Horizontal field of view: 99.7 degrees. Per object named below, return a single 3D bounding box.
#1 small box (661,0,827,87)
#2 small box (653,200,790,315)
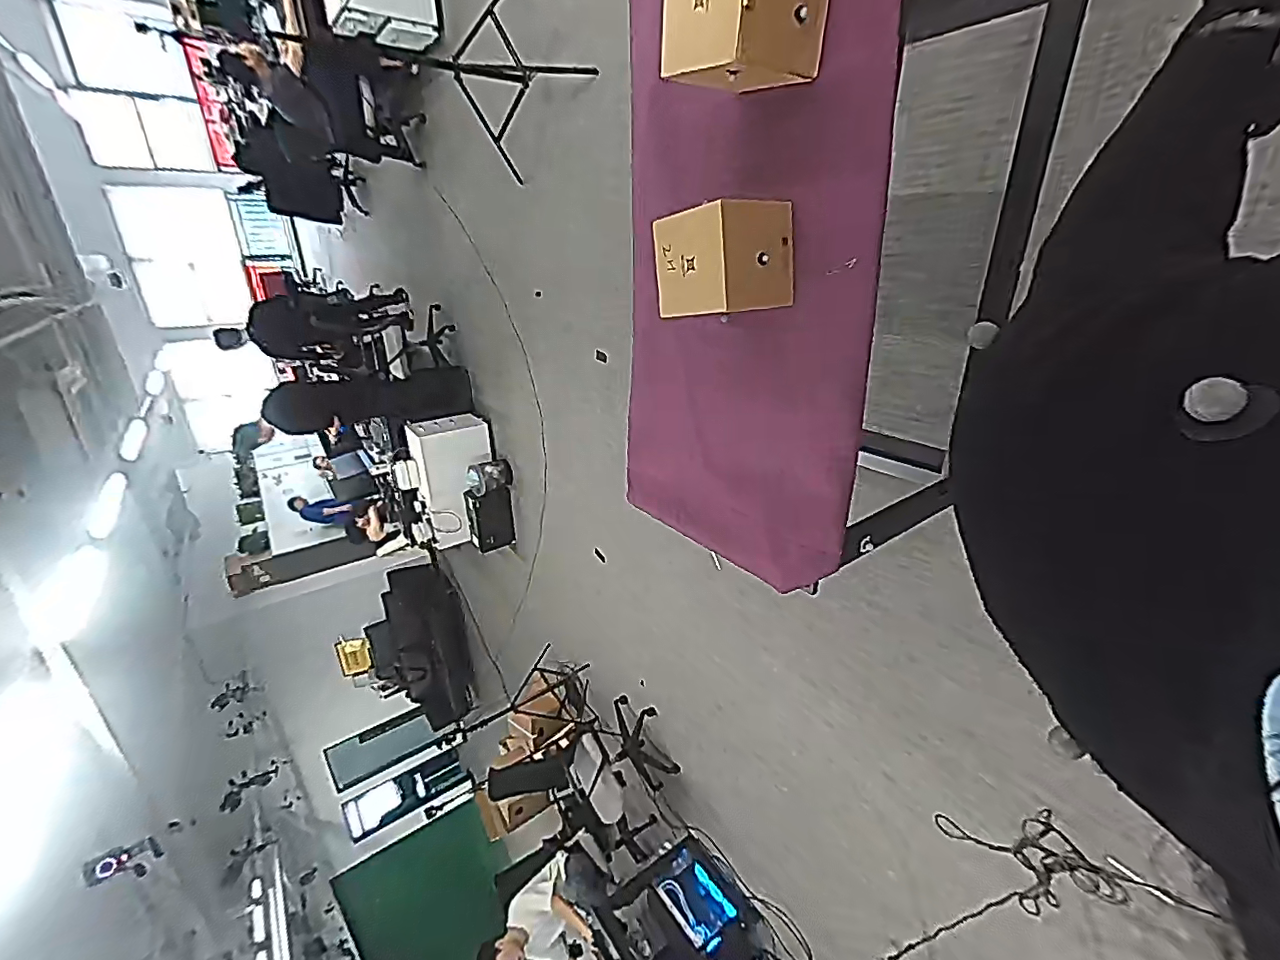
[{"bbox_3d":[0.151,-0.693,0.792,0.179,0.176,0.168,35,133,46],"label":"small box"},{"bbox_3d":[0.146,-0.383,0.945,0.179,0.176,0.168,18,119,53],"label":"small box"}]
